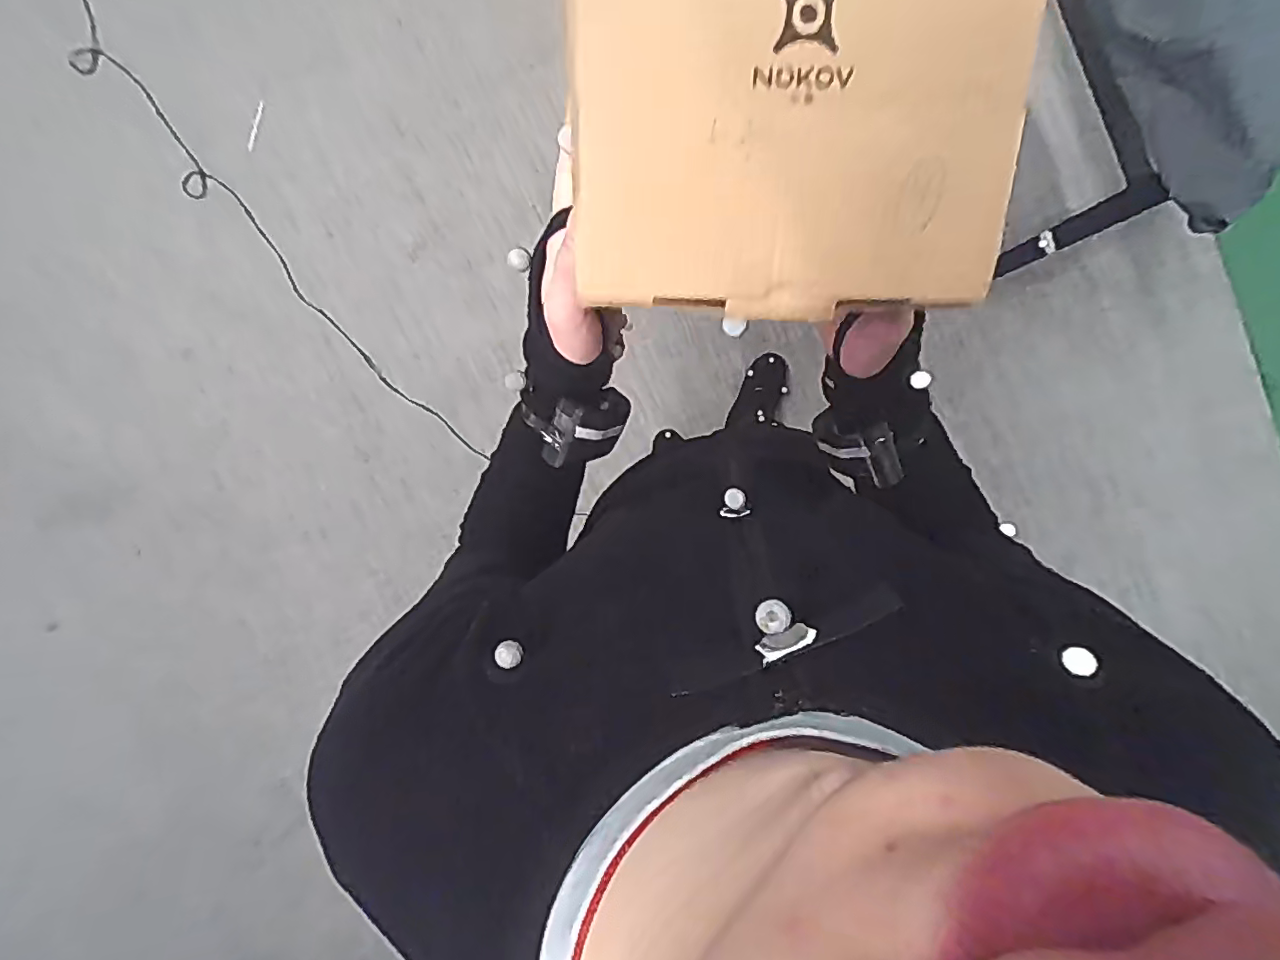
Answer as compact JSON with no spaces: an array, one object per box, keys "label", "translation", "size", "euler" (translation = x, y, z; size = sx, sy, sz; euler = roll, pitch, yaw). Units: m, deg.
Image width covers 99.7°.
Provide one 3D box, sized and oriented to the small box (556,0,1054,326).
[{"label":"small box","translation":[0.051,-0.172,0.257],"size":[0.168,0.176,0.179],"euler":[-1,111,-3]}]
